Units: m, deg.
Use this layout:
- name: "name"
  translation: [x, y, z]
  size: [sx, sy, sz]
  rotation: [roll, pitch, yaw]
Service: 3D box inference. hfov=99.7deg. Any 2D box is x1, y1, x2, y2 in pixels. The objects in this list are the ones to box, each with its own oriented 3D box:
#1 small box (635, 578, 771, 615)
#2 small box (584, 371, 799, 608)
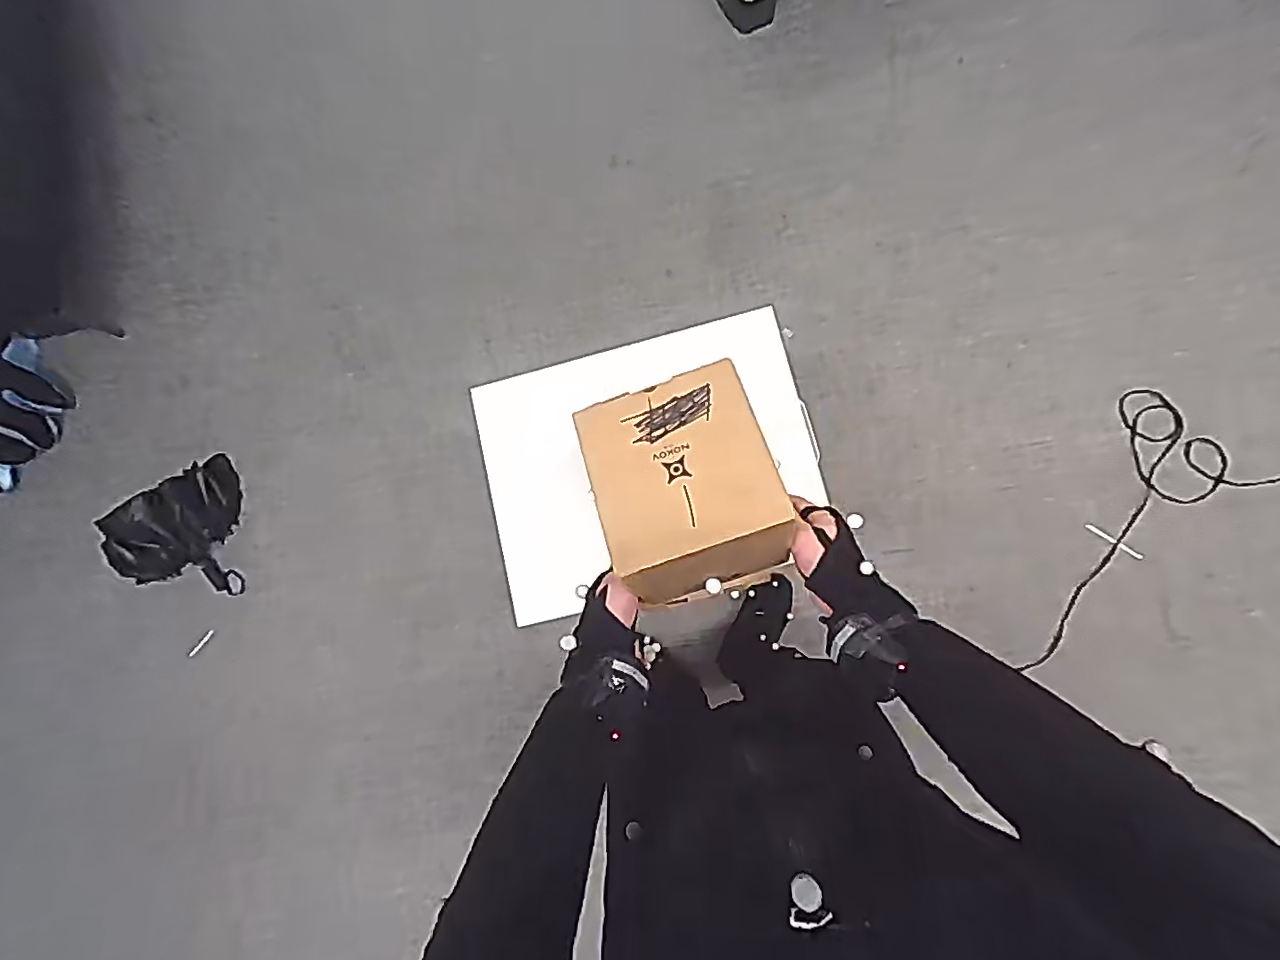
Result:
- name: "small box"
  translation: [0.074, 0.076, 0.747]
  size: [0.168, 0.176, 0.179]
  rotation: [-15, 78, 5]
- name: "small box"
  translation: [0.055, 0.020, 0.574]
  size: [0.168, 0.176, 0.179]
  rotation: [-18, 66, 5]
